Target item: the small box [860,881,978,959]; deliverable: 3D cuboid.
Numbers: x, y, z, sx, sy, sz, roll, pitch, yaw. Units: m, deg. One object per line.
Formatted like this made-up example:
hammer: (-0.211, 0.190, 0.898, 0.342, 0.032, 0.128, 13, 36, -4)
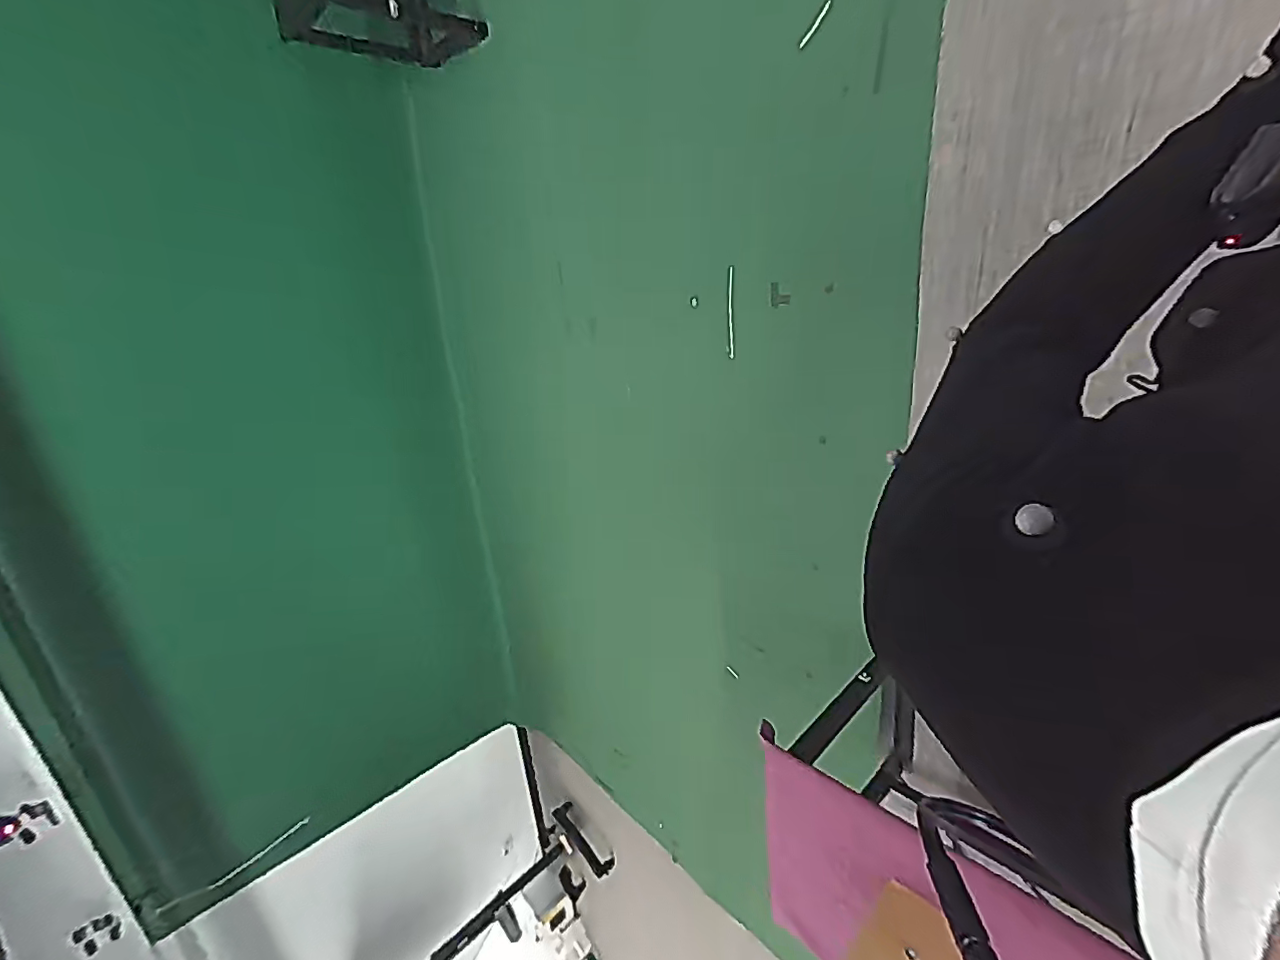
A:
small box: (0.575, 0.998, 1.124, 0.179, 0.176, 0.168, 17, 119, 44)
